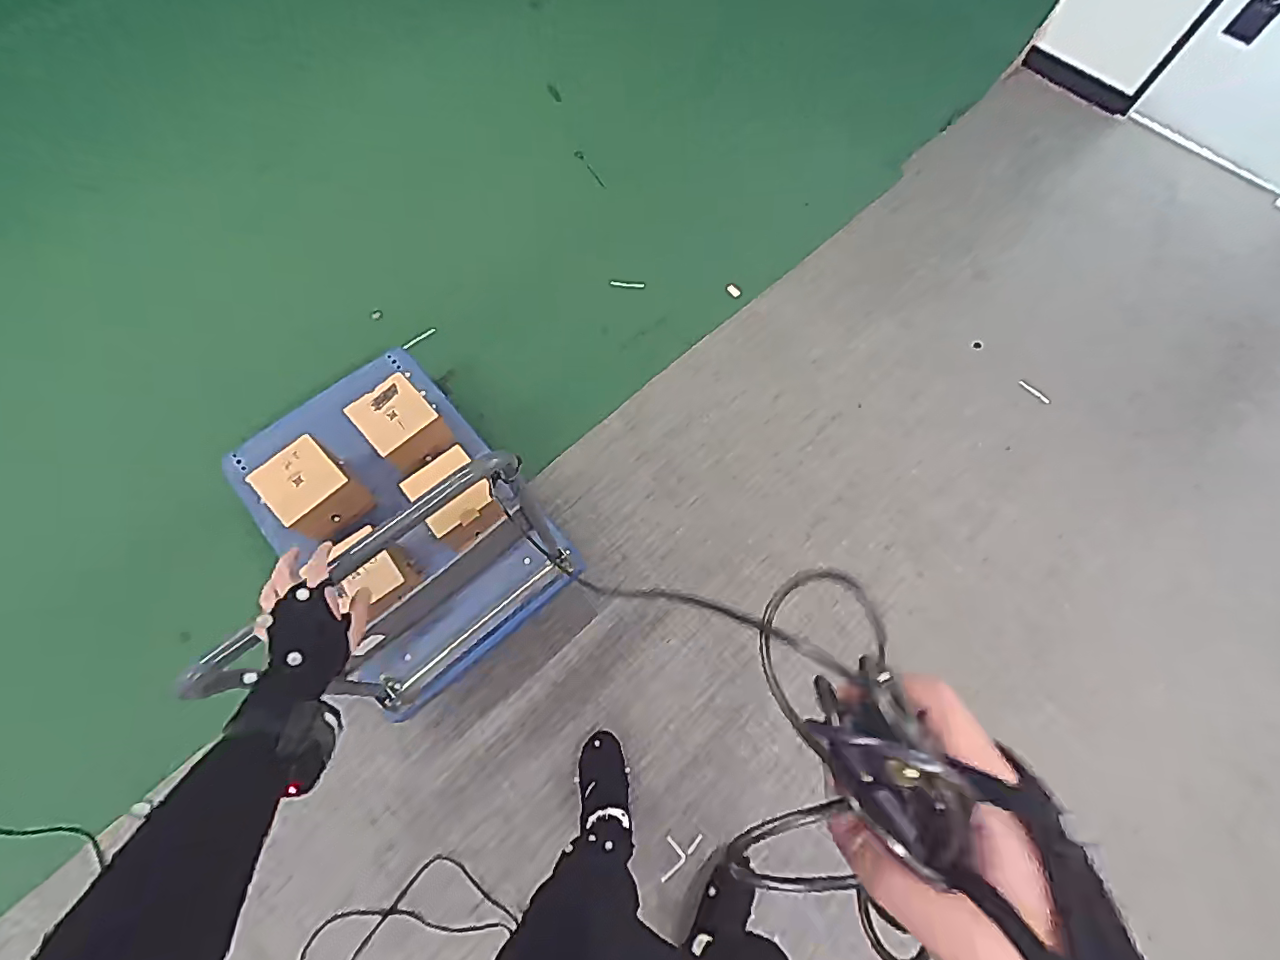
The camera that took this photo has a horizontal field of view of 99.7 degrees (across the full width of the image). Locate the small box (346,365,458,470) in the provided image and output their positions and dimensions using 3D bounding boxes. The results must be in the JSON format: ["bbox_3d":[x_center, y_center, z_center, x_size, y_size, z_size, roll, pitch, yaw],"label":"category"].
[{"bbox_3d":[-0.602,-0.153,1.388,0.168,0.176,0.179,-41,76,-14],"label":"small box"}]

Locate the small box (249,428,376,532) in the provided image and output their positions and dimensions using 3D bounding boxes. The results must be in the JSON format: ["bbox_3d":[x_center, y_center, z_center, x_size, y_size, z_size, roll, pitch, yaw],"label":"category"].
[{"bbox_3d":[-0.791,0.010,1.325,0.168,0.176,0.179,-42,76,-15],"label":"small box"}]

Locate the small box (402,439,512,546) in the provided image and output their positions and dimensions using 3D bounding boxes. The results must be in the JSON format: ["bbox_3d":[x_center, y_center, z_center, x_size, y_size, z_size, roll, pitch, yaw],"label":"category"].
[{"bbox_3d":[-0.439,0.037,1.322,0.168,0.176,0.179,-38,76,-14],"label":"small box"}]
